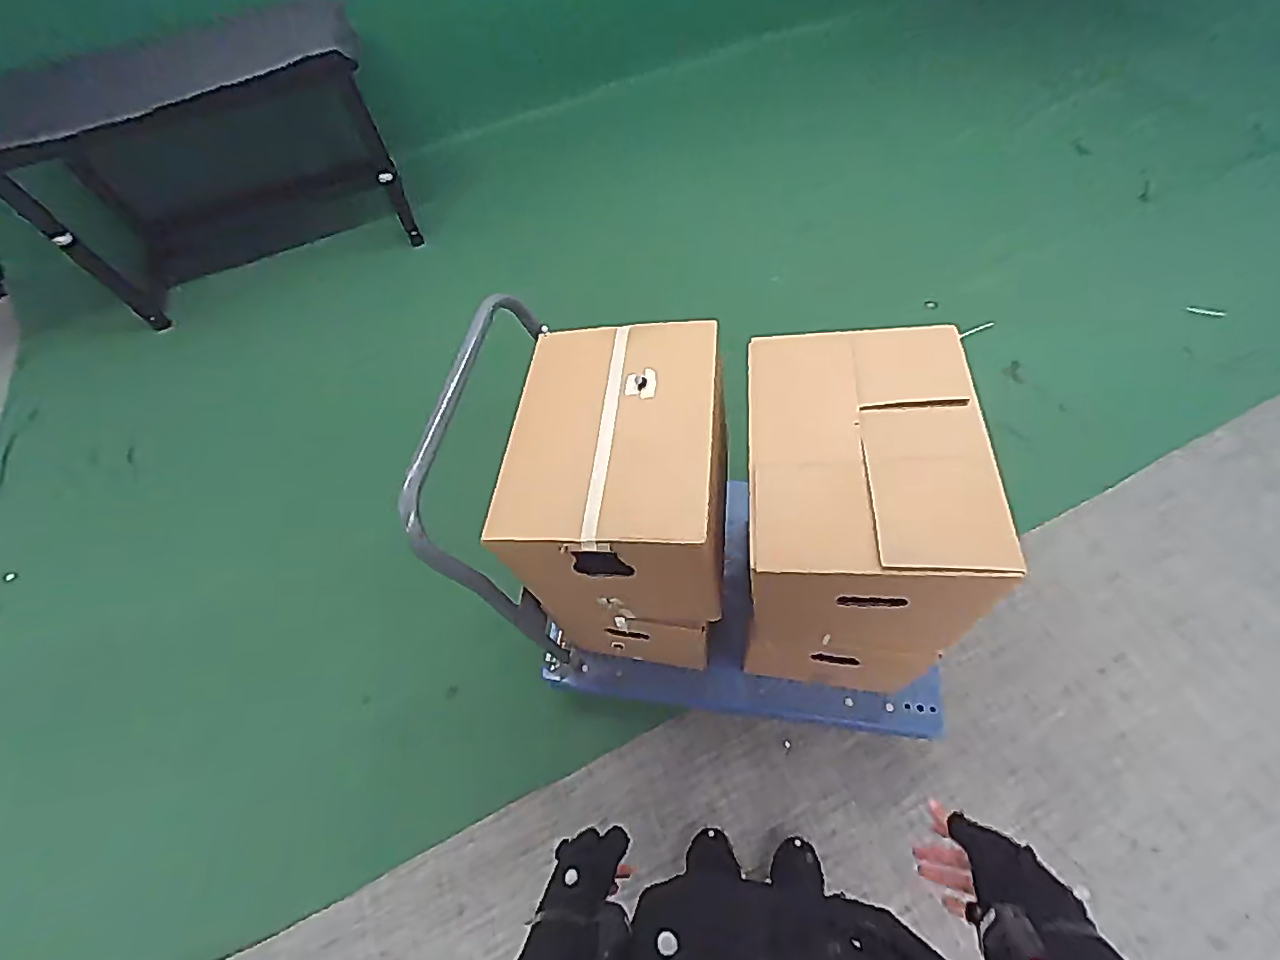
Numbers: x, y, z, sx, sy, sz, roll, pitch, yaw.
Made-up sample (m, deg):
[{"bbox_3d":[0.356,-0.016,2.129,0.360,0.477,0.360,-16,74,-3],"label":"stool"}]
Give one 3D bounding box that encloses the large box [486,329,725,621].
[{"bbox_3d":[-0.019,0.002,0.939,0.320,0.320,0.408,0,57,13],"label":"large box"}]
